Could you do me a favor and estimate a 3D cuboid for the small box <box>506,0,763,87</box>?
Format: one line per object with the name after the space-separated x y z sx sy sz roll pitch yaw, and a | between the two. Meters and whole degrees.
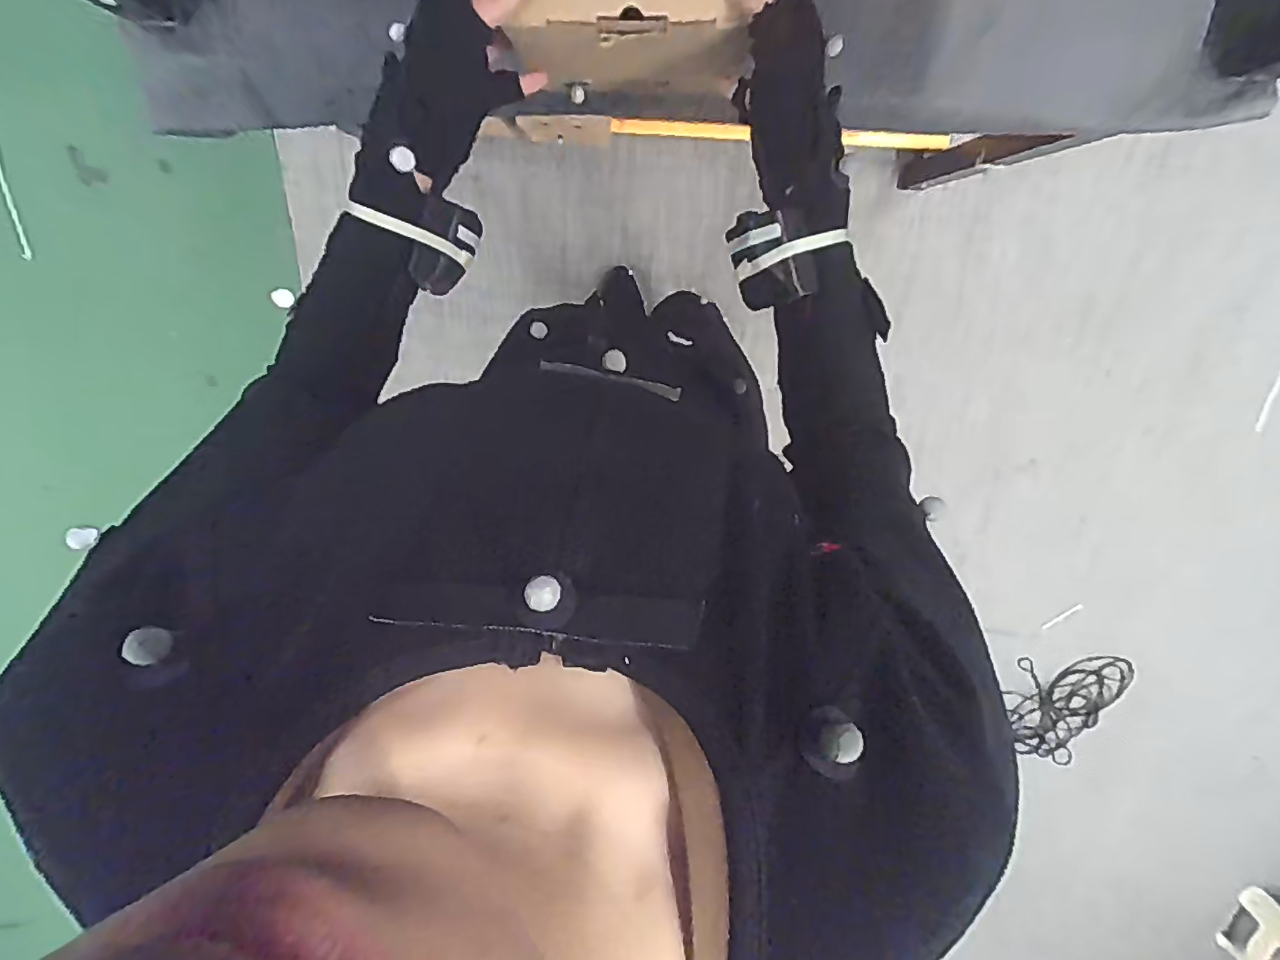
0.000 -0.399 0.380 0.168 0.176 0.179 1 113 1 | small box
